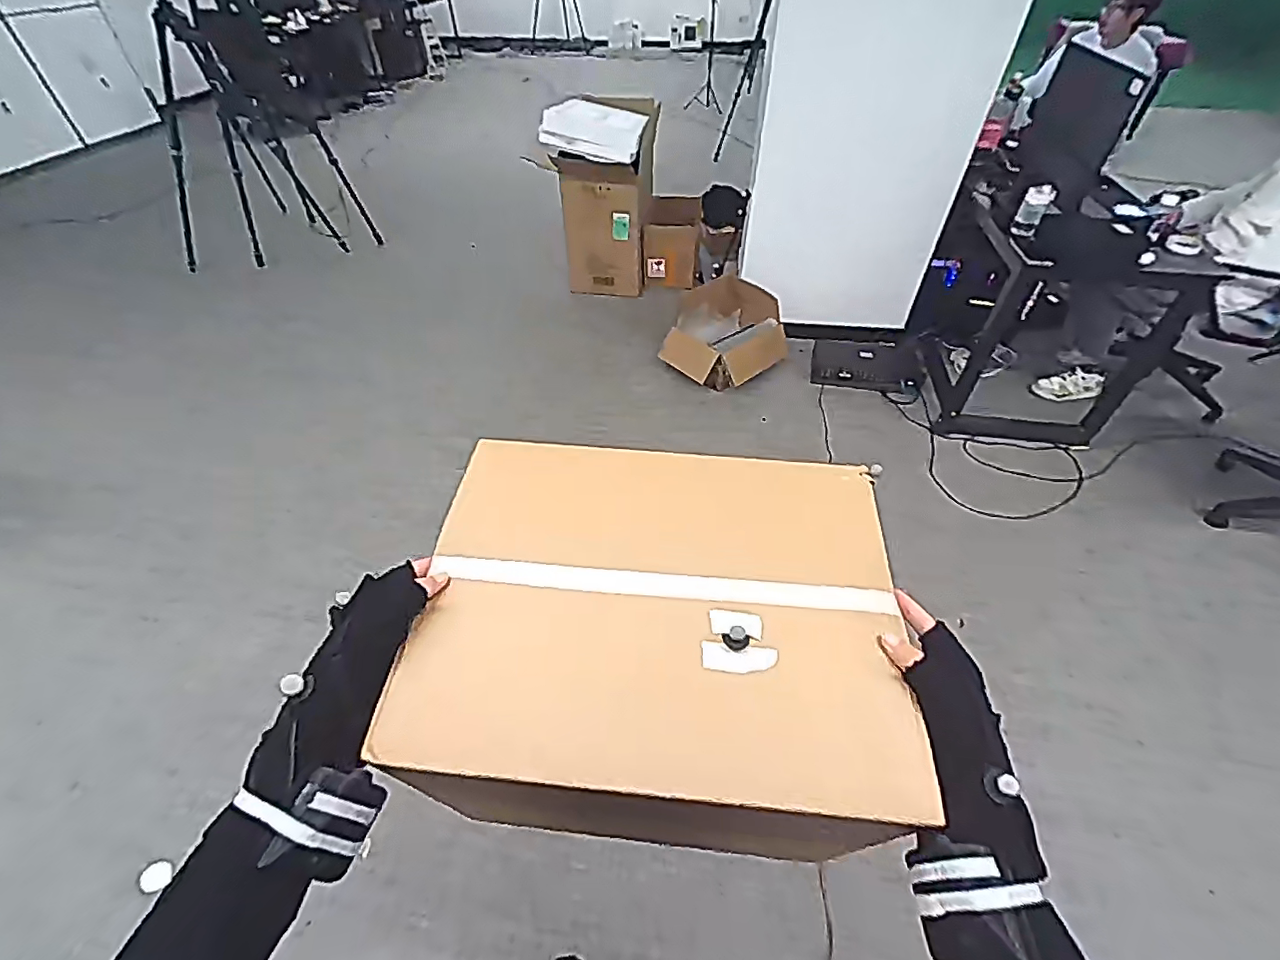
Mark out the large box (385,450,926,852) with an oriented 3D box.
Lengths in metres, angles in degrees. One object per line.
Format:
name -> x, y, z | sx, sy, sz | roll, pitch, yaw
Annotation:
large box -> 0.017, 0.192, 0.597 | 0.408, 0.320, 0.320 | 5, 51, 4
